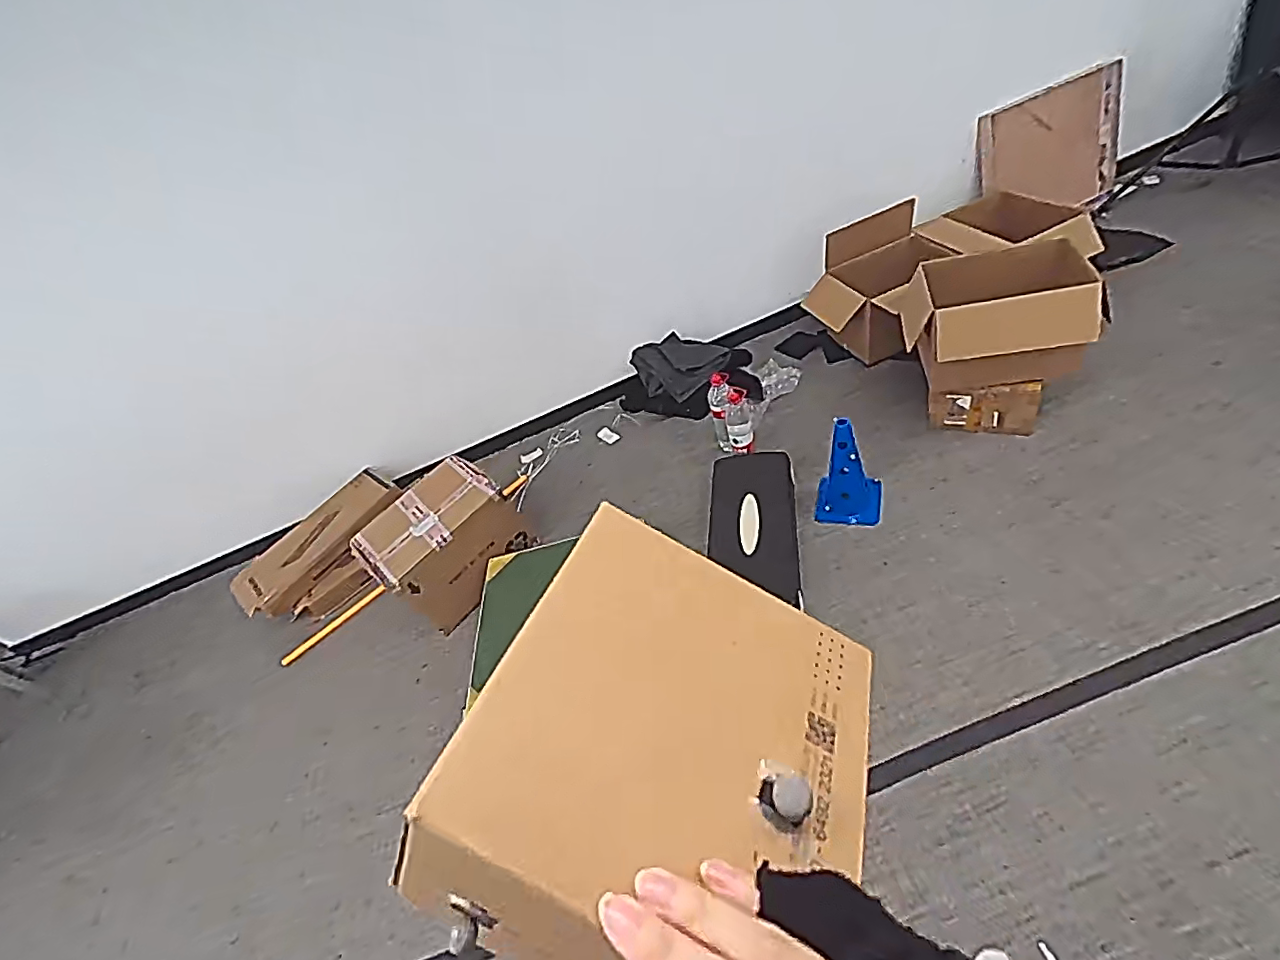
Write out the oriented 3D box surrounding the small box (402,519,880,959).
[{"bbox_3d":[0.000,0.162,0.291,0.176,0.179,0.168,29,42,1],"label":"small box"}]
